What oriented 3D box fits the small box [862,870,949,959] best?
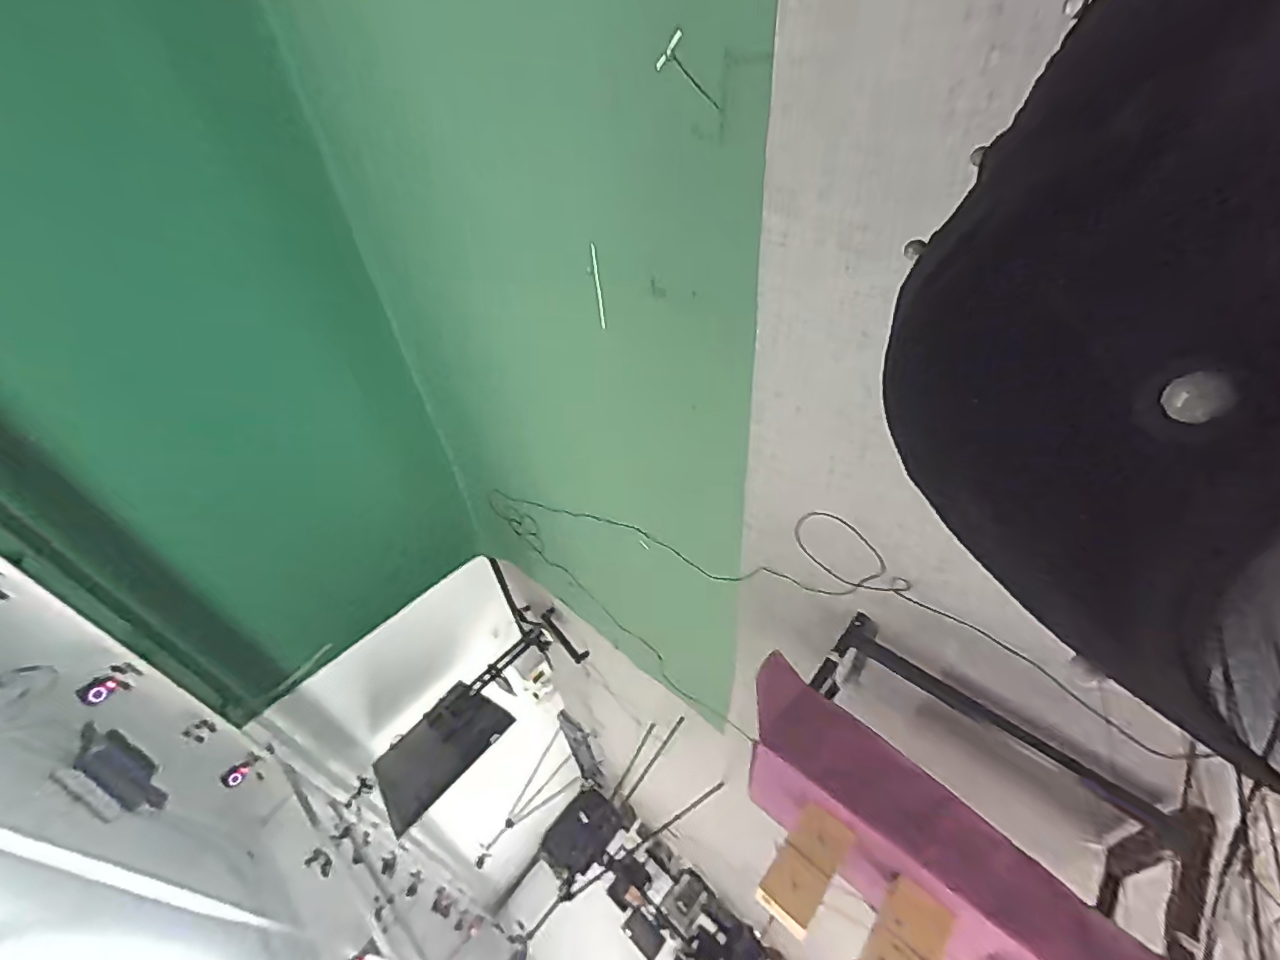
[{"bbox_3d":[0.832,1.378,1.694,0.179,0.176,0.168,32,144,32],"label":"small box"}]

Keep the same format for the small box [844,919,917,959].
[{"bbox_3d":[0.717,1.462,1.616,0.168,0.176,0.179,31,145,33],"label":"small box"}]

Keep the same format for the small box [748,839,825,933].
[{"bbox_3d":[0.478,1.321,1.774,0.179,0.176,0.168,29,143,33],"label":"small box"}]

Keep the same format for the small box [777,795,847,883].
[{"bbox_3d":[0.589,1.235,1.860,0.179,0.176,0.168,27,142,33],"label":"small box"}]
